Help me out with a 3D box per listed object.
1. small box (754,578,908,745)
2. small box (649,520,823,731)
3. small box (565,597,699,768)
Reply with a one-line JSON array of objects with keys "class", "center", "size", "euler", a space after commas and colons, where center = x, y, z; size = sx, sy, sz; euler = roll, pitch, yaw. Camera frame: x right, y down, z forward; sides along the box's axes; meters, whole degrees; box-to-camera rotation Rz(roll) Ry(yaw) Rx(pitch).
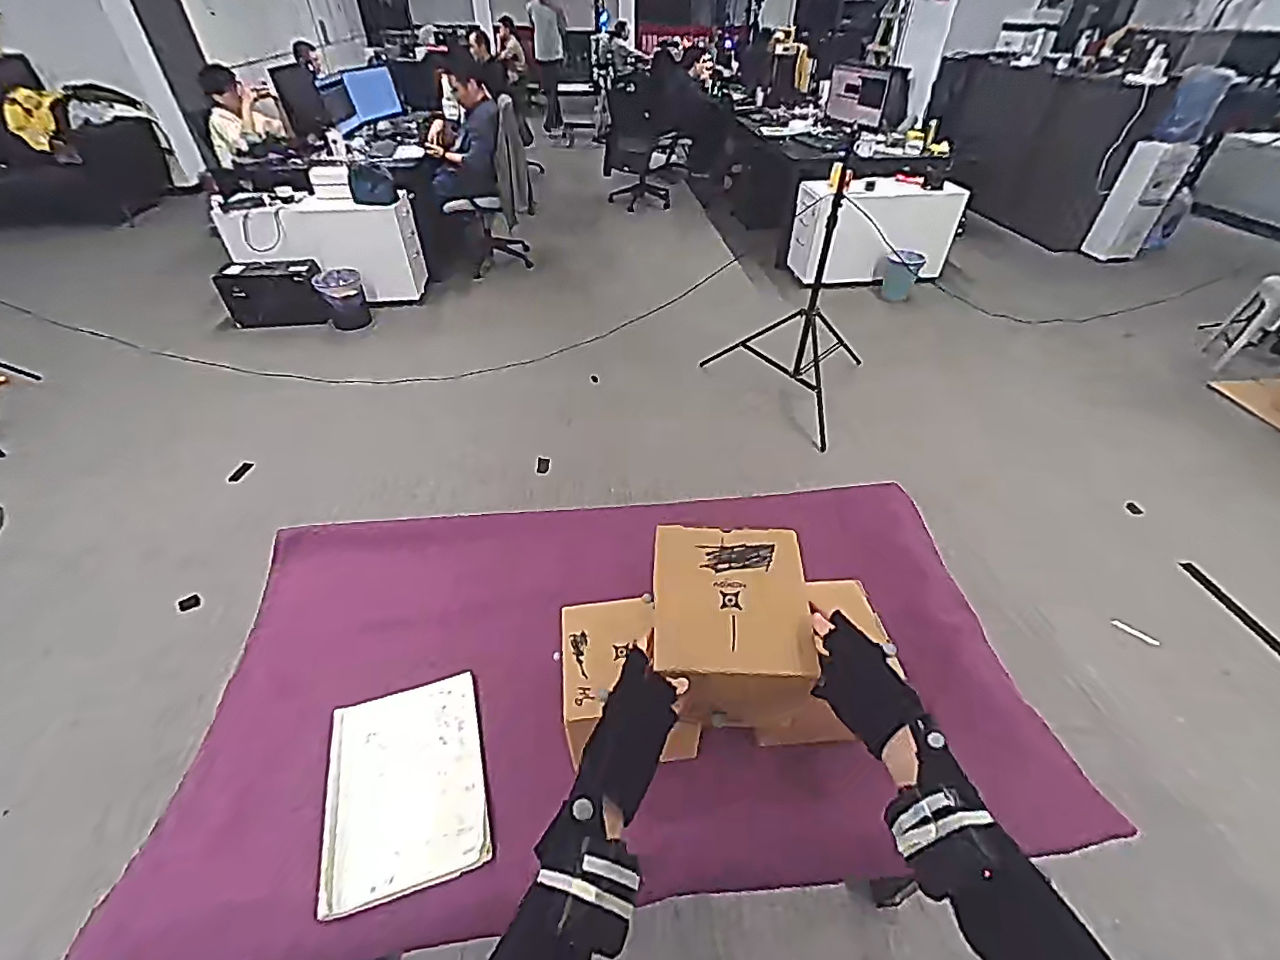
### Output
[{"class": "small box", "center": [0.250, 0.265, 0.791], "size": [0.179, 0.176, 0.168], "euler": [-4, 39, -3]}, {"class": "small box", "center": [0.099, 0.171, 0.641], "size": [0.168, 0.176, 0.179], "euler": [4, 46, 1]}, {"class": "small box", "center": [-0.014, 0.285, 0.764], "size": [0.179, 0.176, 0.168], "euler": [-4, 42, -5]}]
